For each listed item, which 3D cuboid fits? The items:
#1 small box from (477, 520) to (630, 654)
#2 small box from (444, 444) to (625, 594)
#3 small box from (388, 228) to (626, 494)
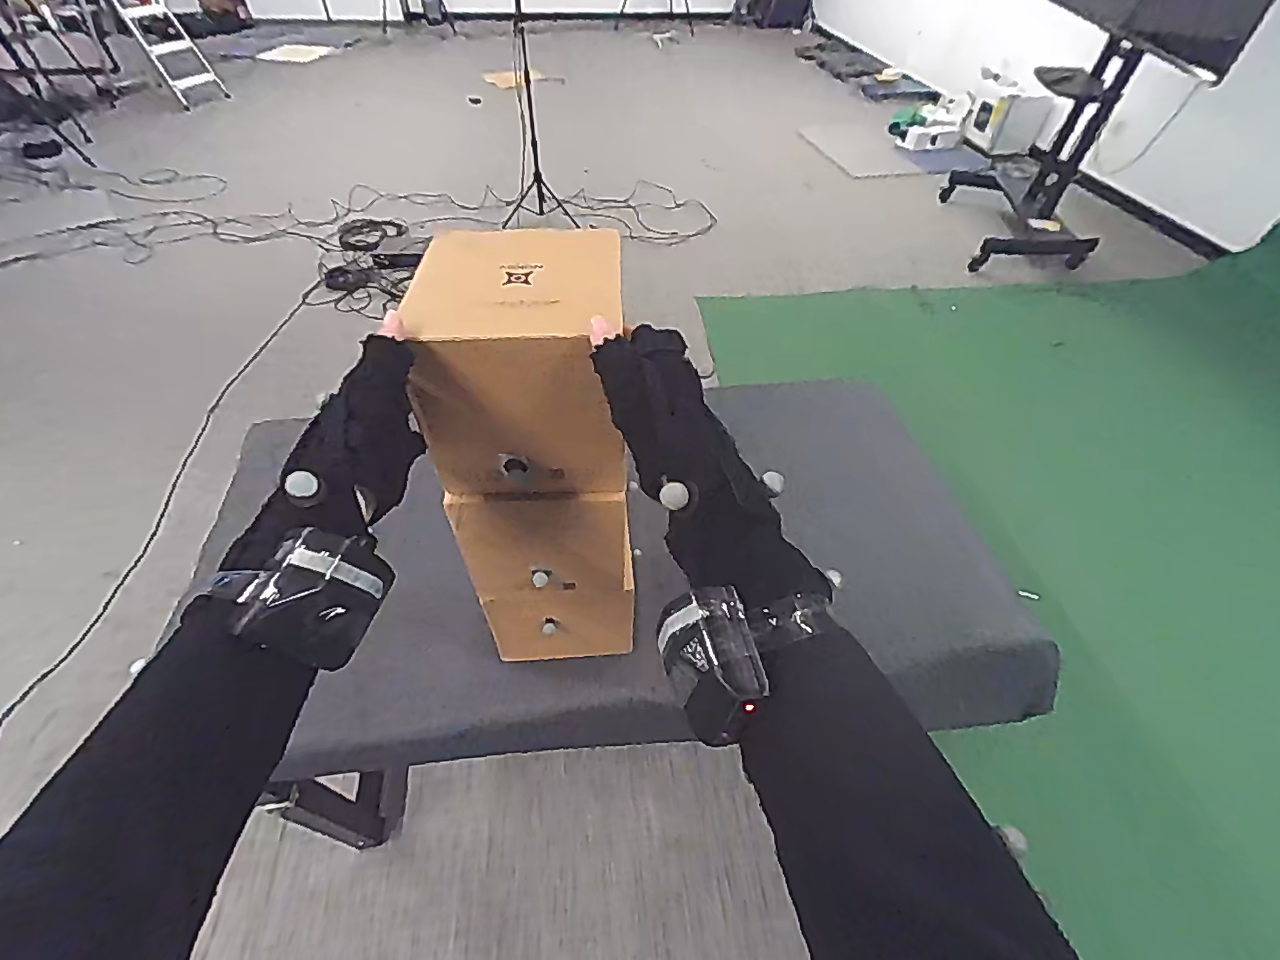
[{"bbox_3d":[-0.104,0.121,0.725,0.179,0.176,0.168,-3,48,-4],"label":"small box"},{"bbox_3d":[-0.101,0.009,0.604,0.168,0.176,0.179,0,48,-2],"label":"small box"},{"bbox_3d":[-0.097,-0.107,0.489,0.168,0.176,0.179,-1,48,-1],"label":"small box"}]
